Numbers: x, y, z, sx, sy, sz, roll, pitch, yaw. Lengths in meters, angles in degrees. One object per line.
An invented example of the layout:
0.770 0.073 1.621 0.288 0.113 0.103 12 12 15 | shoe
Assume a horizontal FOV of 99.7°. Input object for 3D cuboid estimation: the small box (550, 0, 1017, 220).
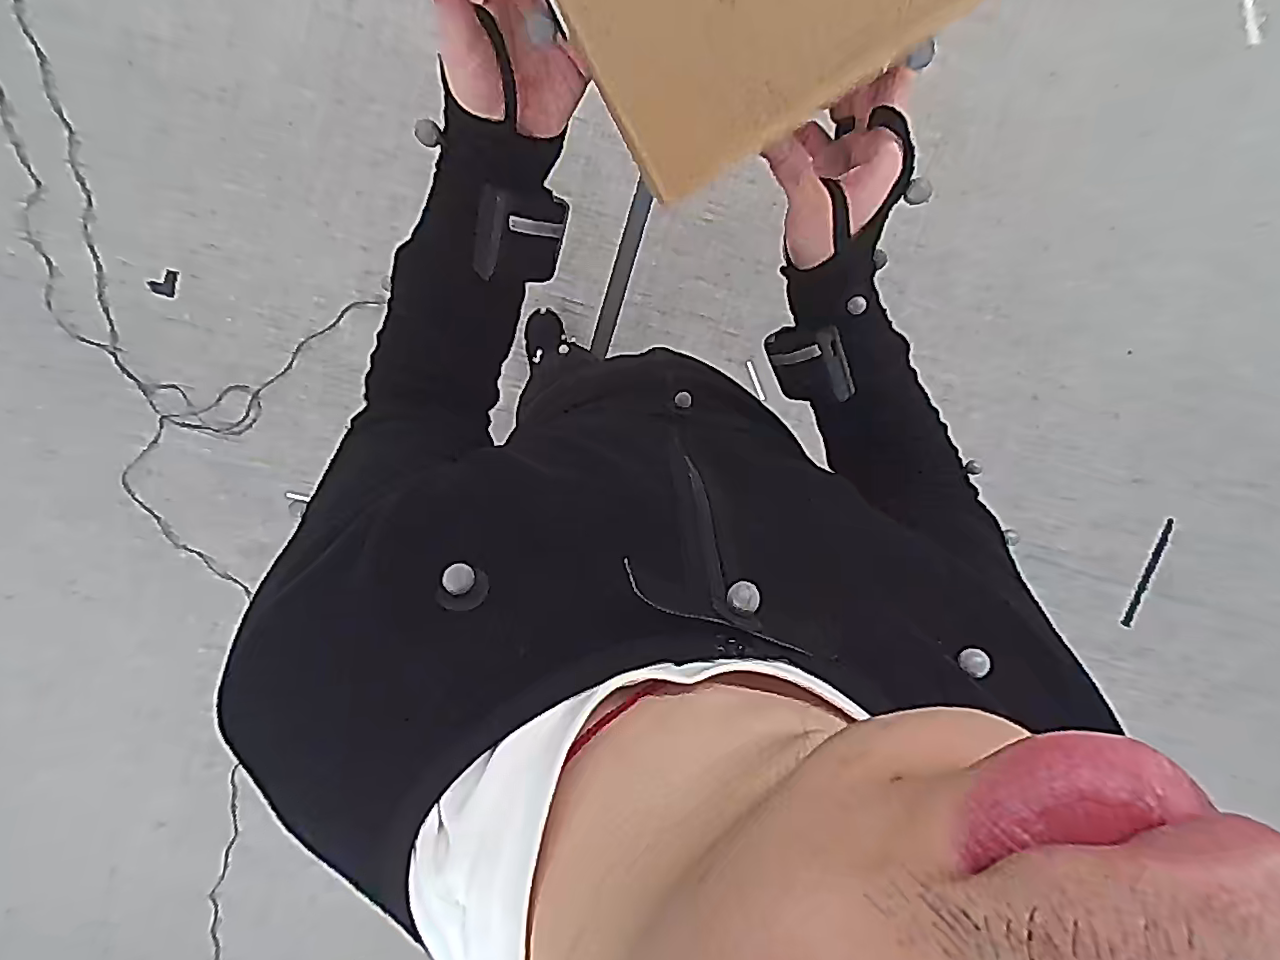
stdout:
0.044 -0.245 0.230 0.179 0.176 0.168 -29 118 16 | small box
